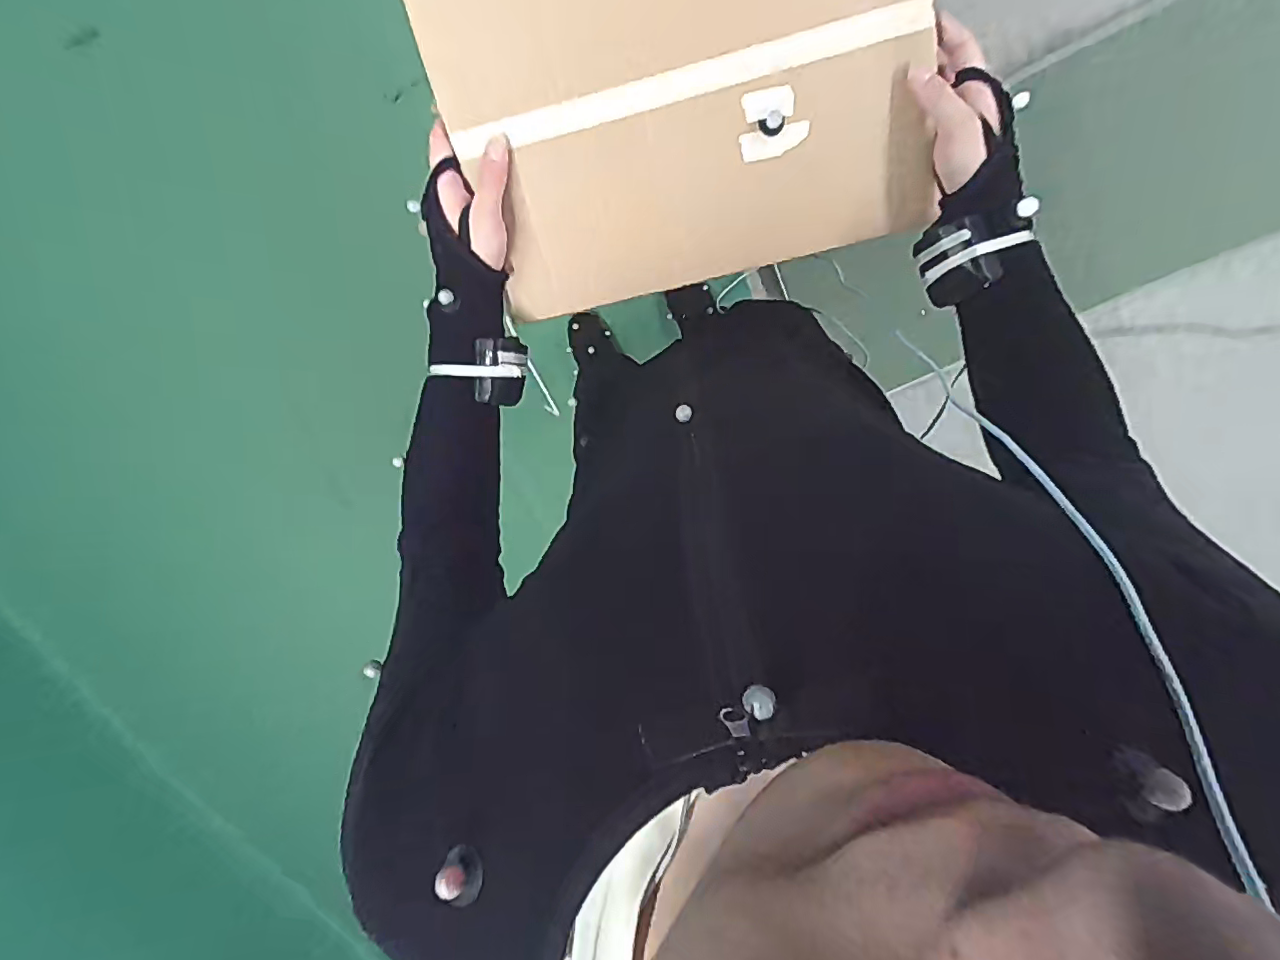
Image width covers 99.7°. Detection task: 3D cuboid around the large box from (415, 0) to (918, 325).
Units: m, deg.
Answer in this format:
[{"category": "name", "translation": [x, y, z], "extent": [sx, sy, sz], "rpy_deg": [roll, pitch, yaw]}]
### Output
[{"category": "large box", "translation": [0.034, -0.394, 0.600], "extent": [0.408, 0.320, 0.320], "rpy_deg": [-12, 116, 5]}]
